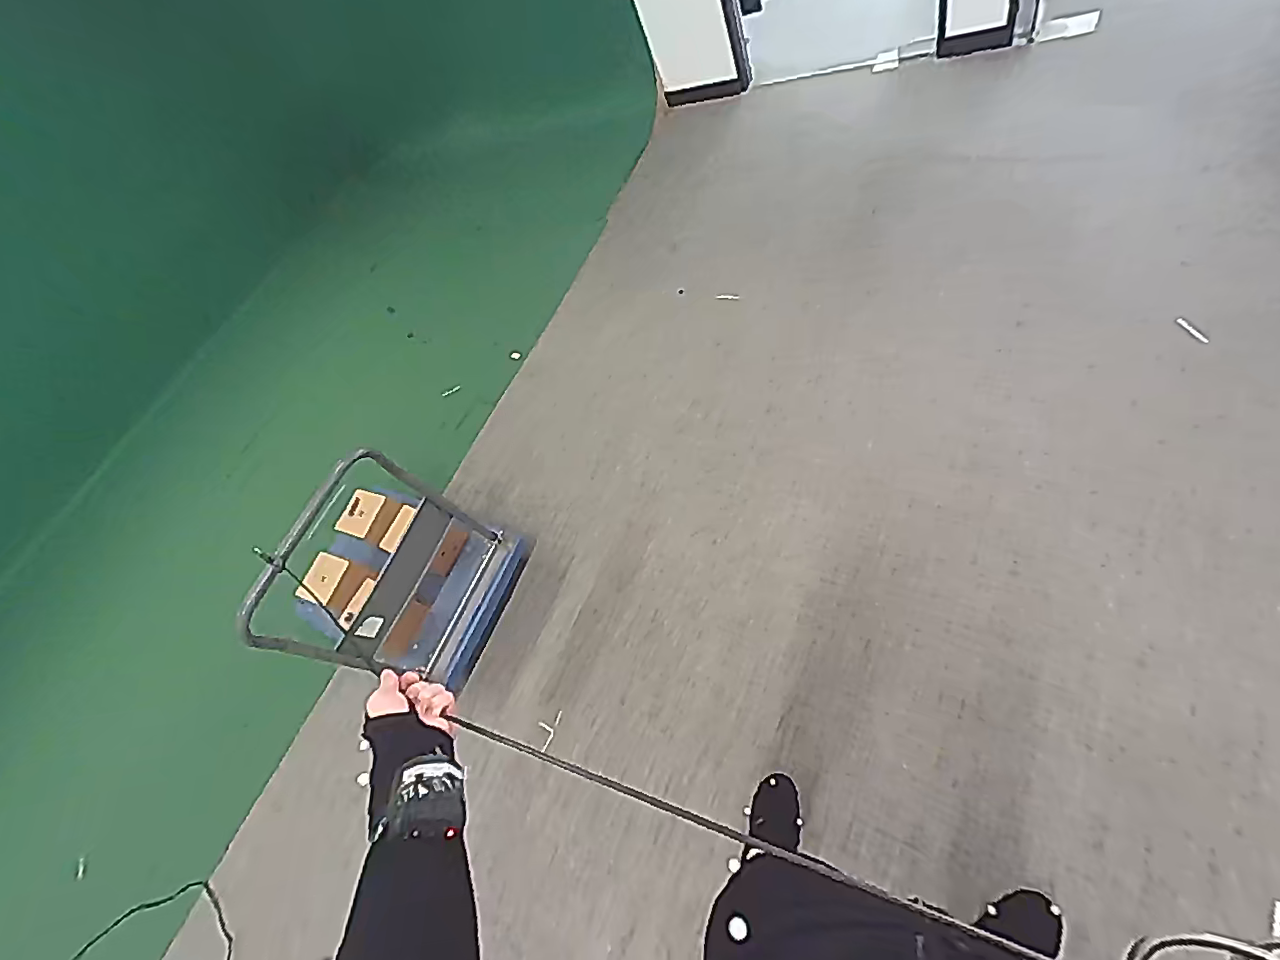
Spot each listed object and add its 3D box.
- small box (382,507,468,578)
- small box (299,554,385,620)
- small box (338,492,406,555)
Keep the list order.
[{"bbox_3d":[-0.737,0.219,1.864,0.179,0.176,0.168,15,69,31],"label":"small box"},{"bbox_3d":[-1.048,0.384,1.915,0.179,0.176,0.168,10,66,30],"label":"small box"},{"bbox_3d":[-0.962,0.164,2.003,0.179,0.176,0.168,10,68,29],"label":"small box"}]
